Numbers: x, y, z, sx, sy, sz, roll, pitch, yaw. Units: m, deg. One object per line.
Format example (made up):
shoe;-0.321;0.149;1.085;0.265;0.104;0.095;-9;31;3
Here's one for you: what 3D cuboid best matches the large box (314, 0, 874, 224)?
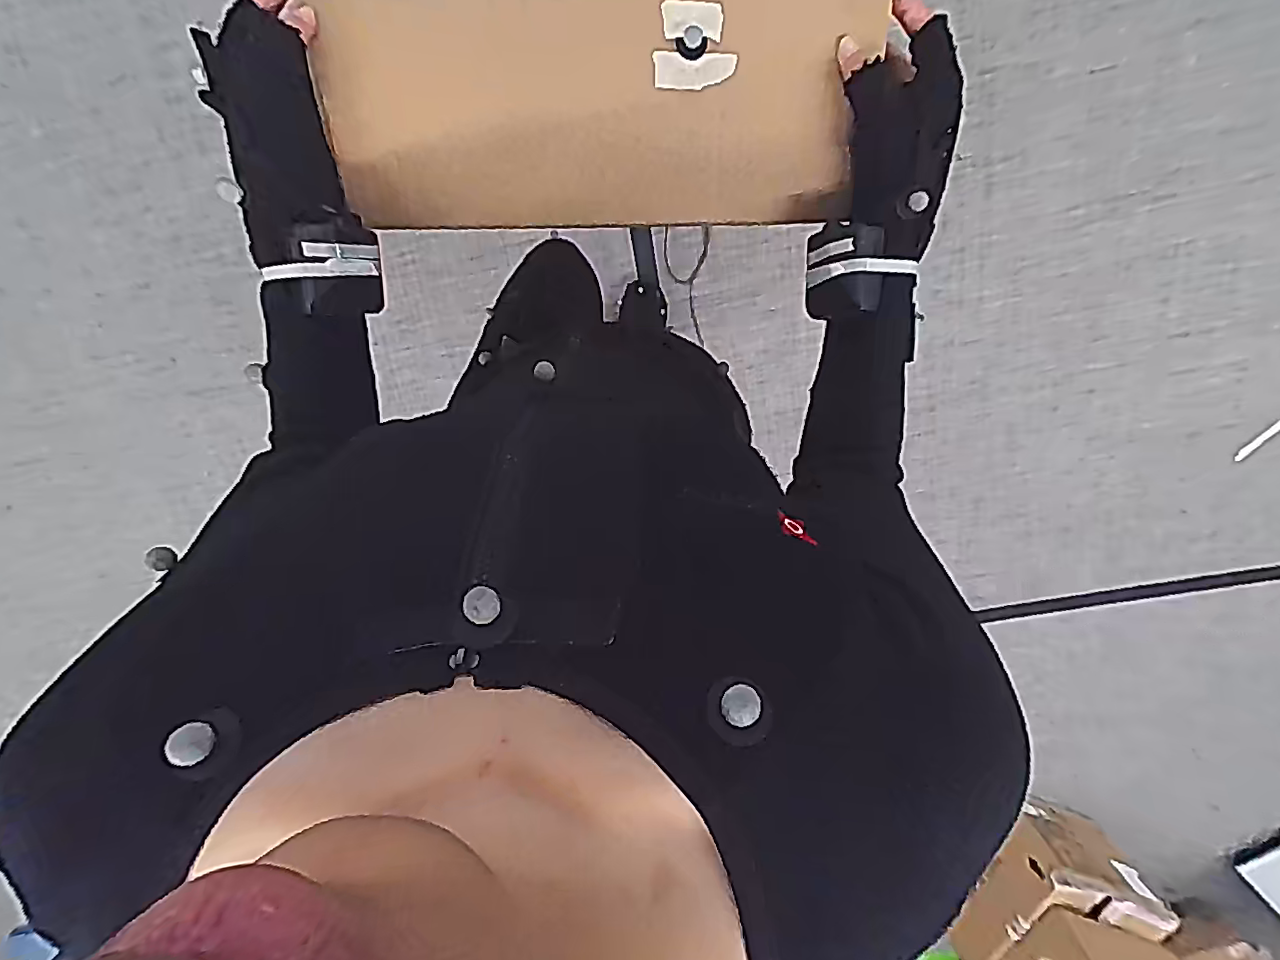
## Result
large box;-0.036;-0.419;0.508;0.408;0.320;0.320;-1;116;-1
